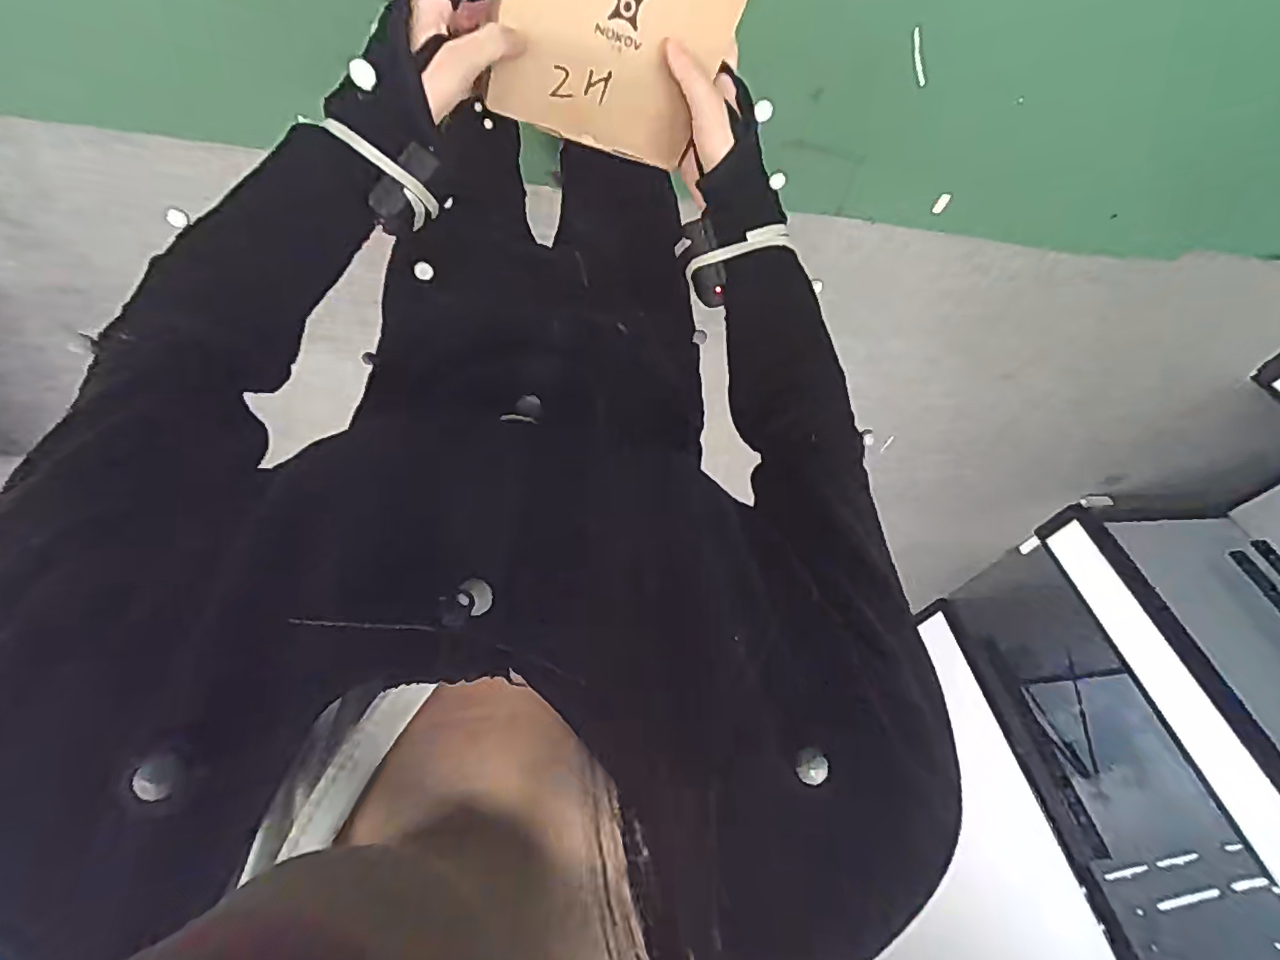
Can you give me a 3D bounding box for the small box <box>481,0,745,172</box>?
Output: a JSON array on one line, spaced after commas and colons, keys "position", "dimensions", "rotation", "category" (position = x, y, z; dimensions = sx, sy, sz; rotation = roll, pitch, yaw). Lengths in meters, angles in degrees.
[{"position": [-0.030, -0.396, 0.431], "dimensions": [0.168, 0.176, 0.179], "rotation": [4, 146, -25], "category": "small box"}]
